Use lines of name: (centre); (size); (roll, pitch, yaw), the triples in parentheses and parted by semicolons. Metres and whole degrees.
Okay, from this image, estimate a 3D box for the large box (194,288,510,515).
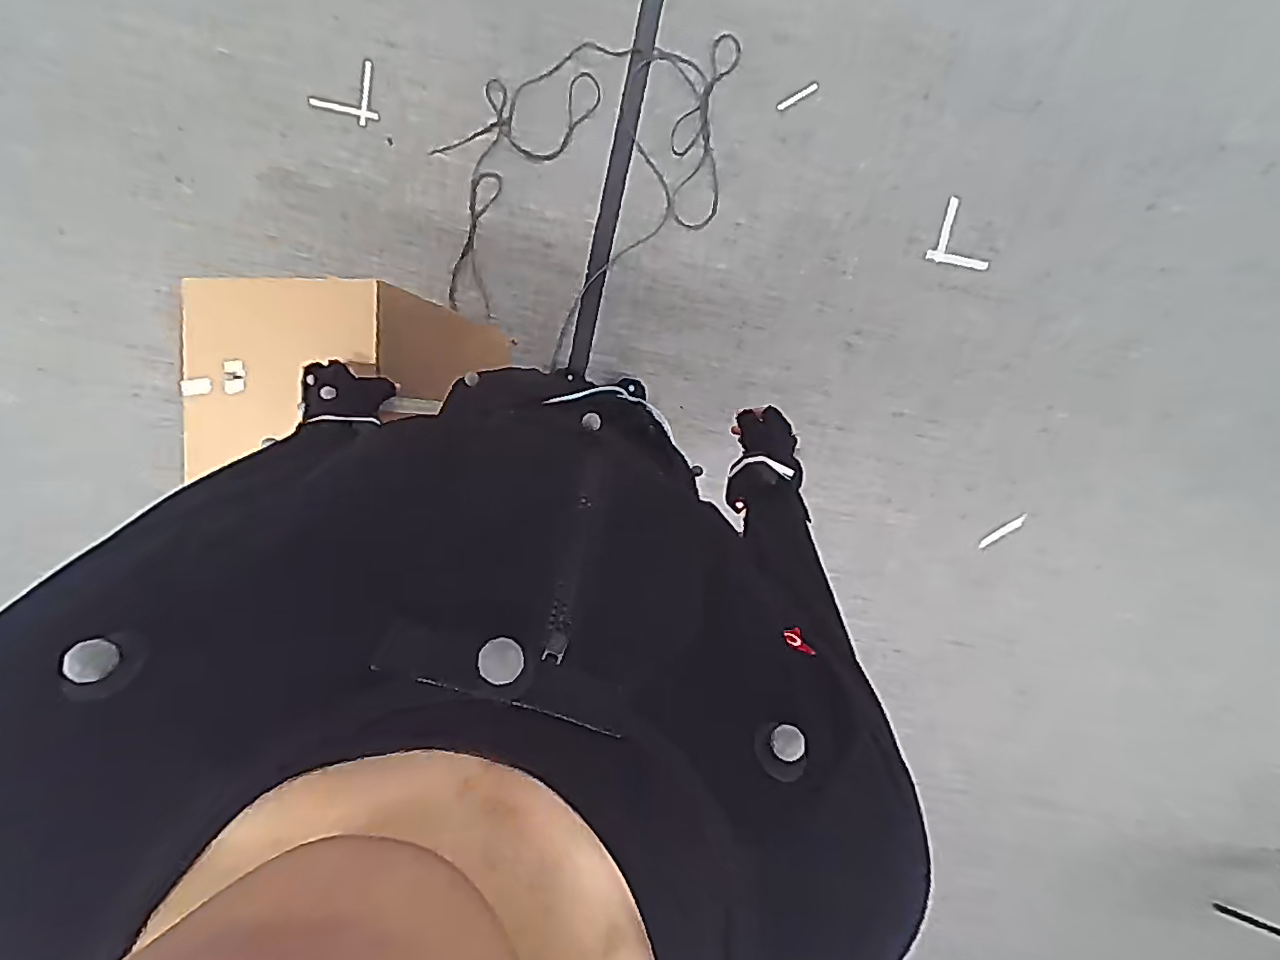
large box: (-0.460, -0.133, 0.946); (0.320, 0.408, 0.320); (6, 96, 10)
